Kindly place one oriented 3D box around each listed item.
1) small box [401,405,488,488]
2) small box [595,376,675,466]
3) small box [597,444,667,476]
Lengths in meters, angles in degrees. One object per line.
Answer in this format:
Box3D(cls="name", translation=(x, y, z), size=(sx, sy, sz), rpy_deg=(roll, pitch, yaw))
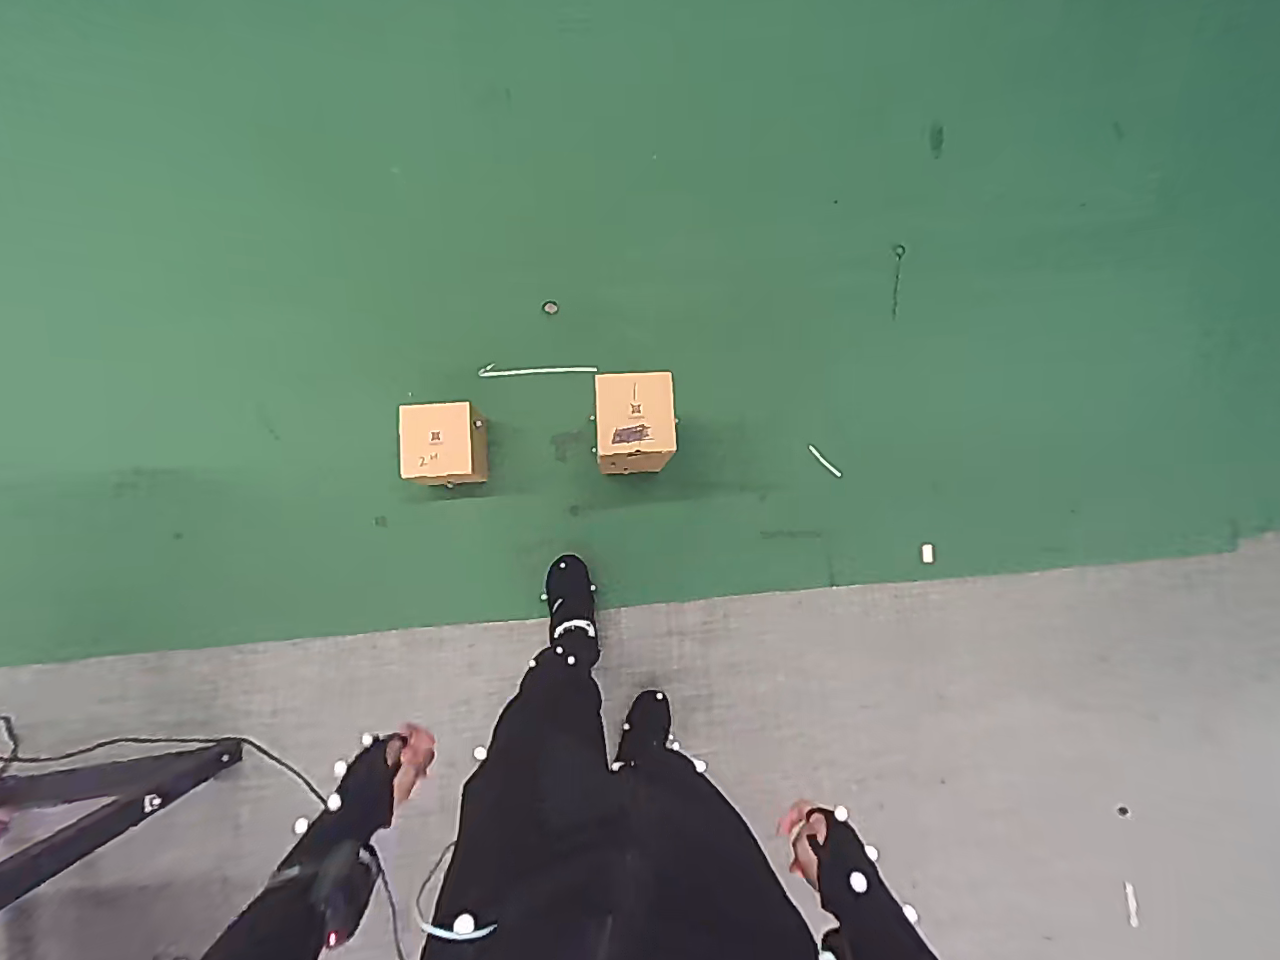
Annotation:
Box3D(cls="small box", translation=(-0.481, -0.079, 1.348), size=(0.168, 0.176, 0.179), rpy_deg=(-3, 84, -3))
Box3D(cls="small box", translation=(-0.014, -0.125, 1.218), size=(0.168, 0.176, 0.179), rpy_deg=(-3, 84, -5))
Box3D(cls="small box", translation=(-0.026, -0.109, 1.381), size=(0.168, 0.176, 0.179), rpy_deg=(-3, 84, -4))
